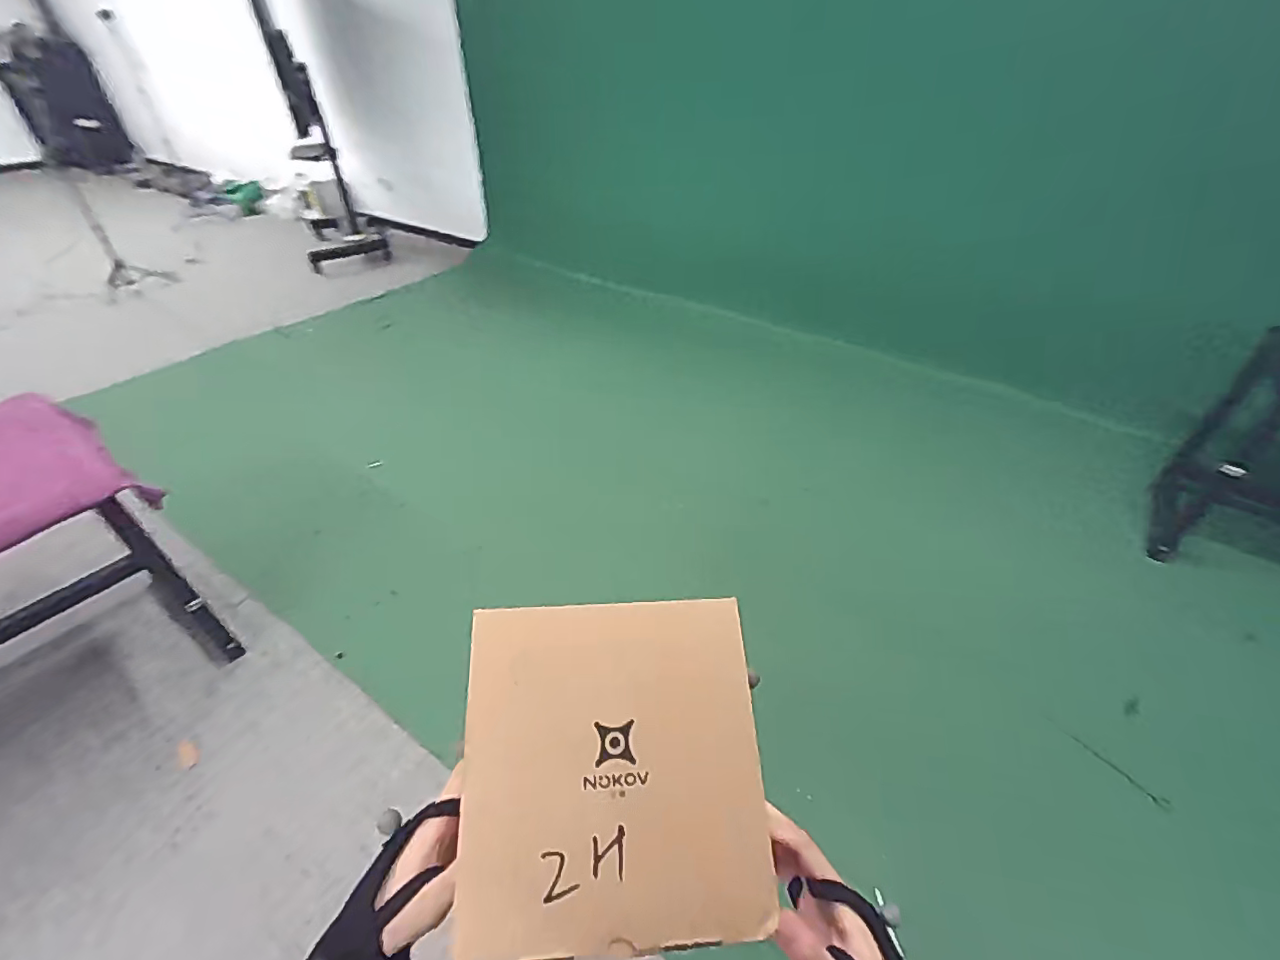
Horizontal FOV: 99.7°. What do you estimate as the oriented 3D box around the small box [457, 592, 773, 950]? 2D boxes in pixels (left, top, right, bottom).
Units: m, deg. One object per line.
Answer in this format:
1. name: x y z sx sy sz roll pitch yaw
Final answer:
1. small box: -0.021 0.187 0.383 0.168 0.176 0.179 -2 66 -5
